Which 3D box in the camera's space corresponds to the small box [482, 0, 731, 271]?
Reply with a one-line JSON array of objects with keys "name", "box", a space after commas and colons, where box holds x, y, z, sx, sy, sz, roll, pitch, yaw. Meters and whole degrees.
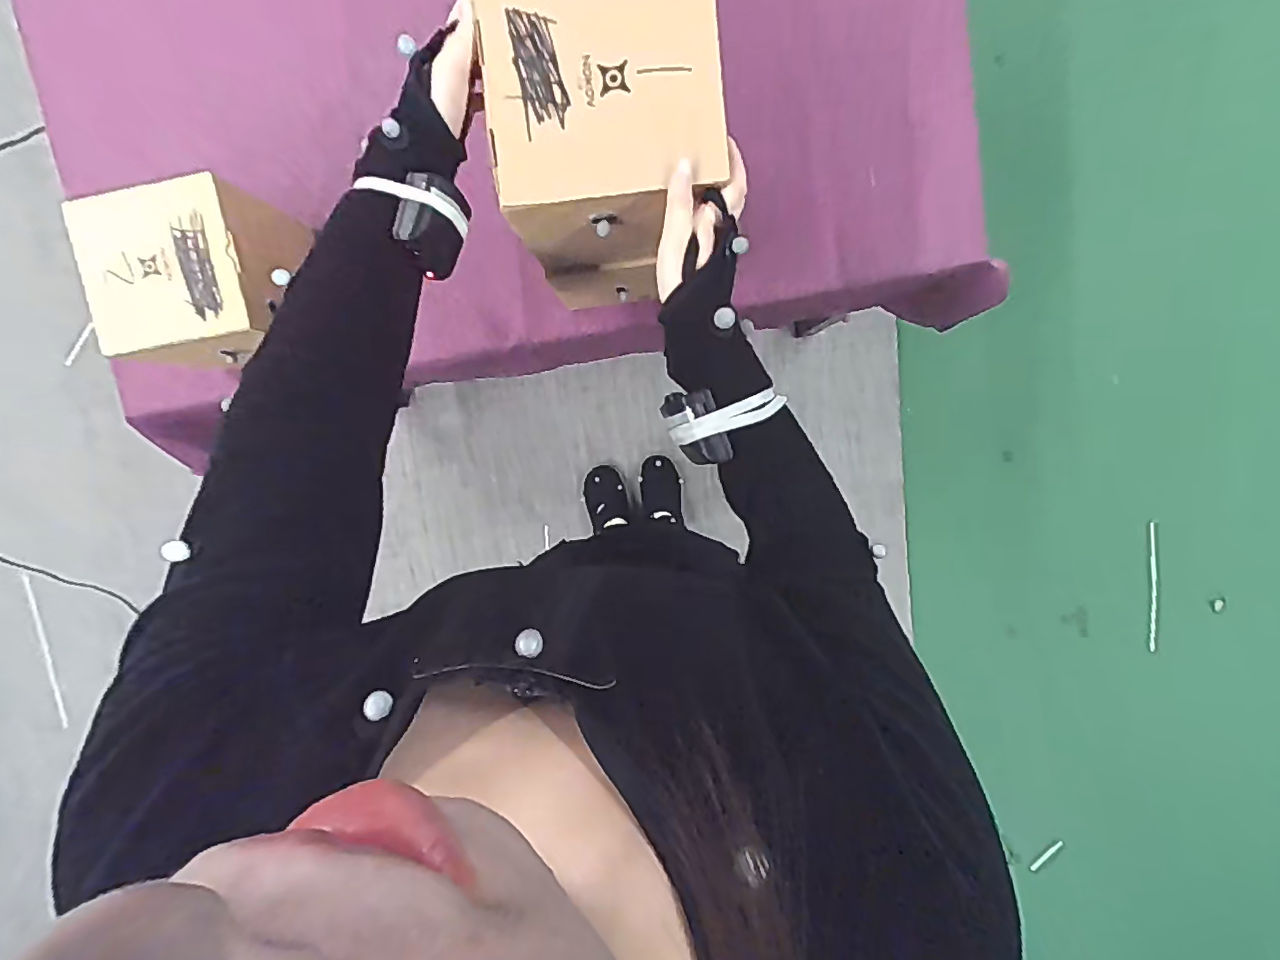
[{"name": "small box", "box": [-0.022, -0.296, 0.480, 0.179, 0.176, 0.168, -6, 96, 1]}]

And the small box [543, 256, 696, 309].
[{"name": "small box", "box": [-0.026, -0.310, 0.645, 0.168, 0.176, 0.179, -6, 96, 2]}]
